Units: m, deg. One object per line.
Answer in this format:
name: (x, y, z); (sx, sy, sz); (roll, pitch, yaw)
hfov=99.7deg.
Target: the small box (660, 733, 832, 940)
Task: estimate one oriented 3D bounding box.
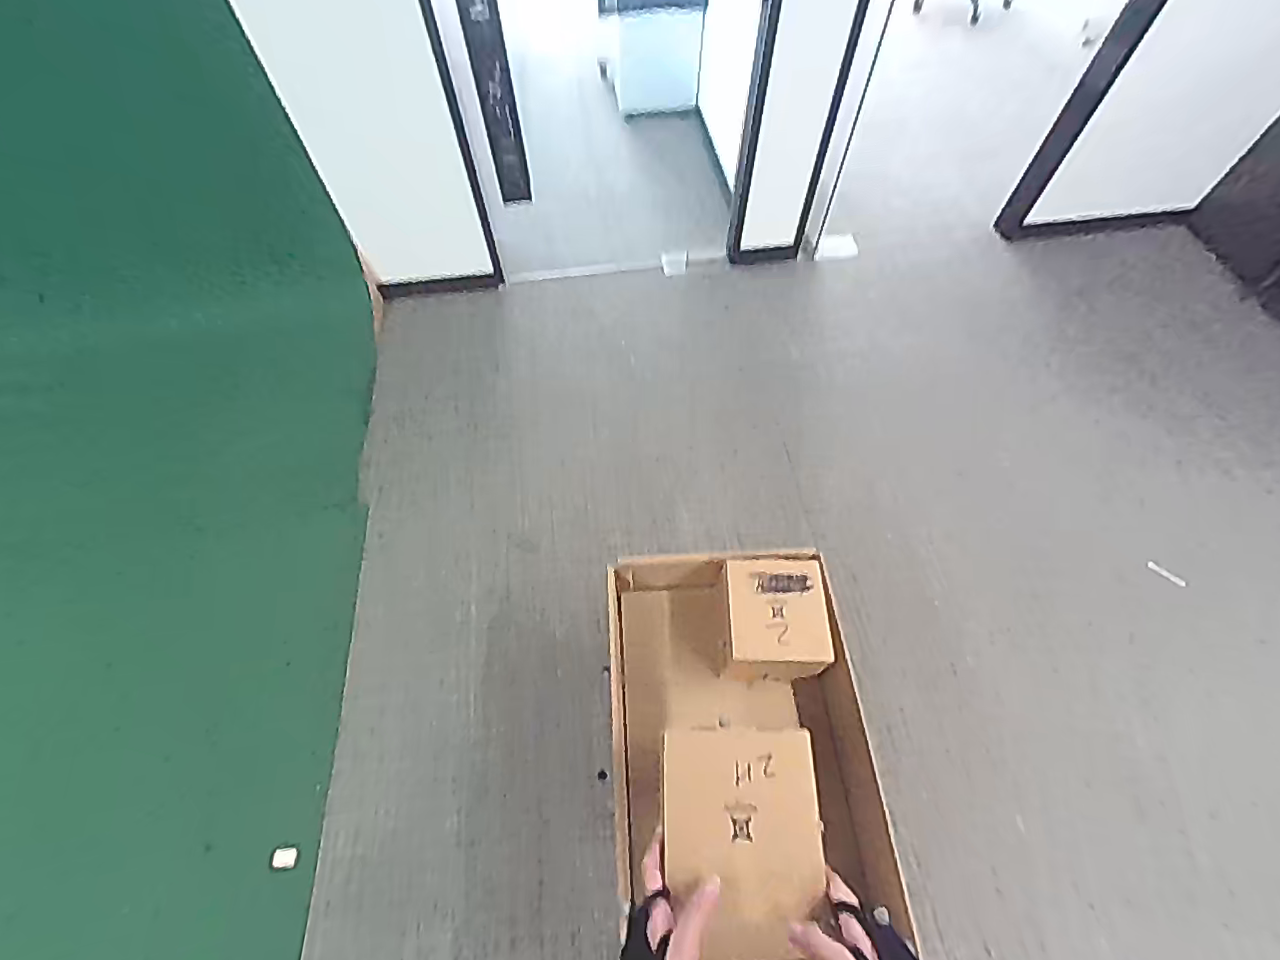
small box: (0.109, 0.394, 0.628); (0.168, 0.176, 0.179); (1, 64, 1)
